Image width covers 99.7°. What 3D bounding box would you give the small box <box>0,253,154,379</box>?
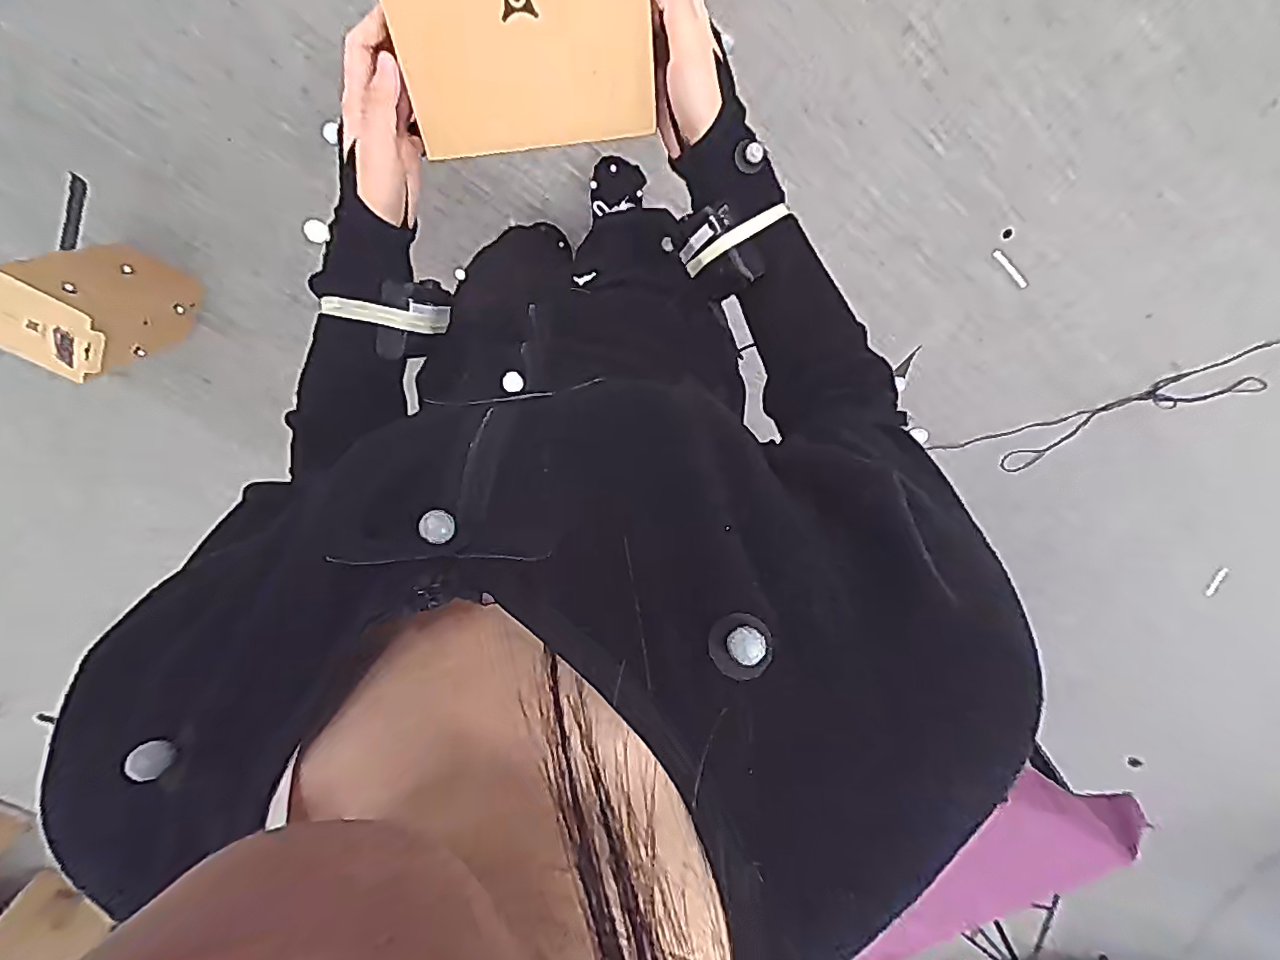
[{"bbox_3d":[-1.162,-0.343,1.113,0.179,0.176,0.168,29,116,-18],"label":"small box"}]

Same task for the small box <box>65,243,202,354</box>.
[{"bbox_3d":[-1.172,-0.427,1.255,0.179,0.176,0.168,28,116,-17],"label":"small box"}]

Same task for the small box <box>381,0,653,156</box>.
[{"bbox_3d":[-0.084,-0.356,0.382,0.168,0.176,0.179,-8,134,-2],"label":"small box"}]
